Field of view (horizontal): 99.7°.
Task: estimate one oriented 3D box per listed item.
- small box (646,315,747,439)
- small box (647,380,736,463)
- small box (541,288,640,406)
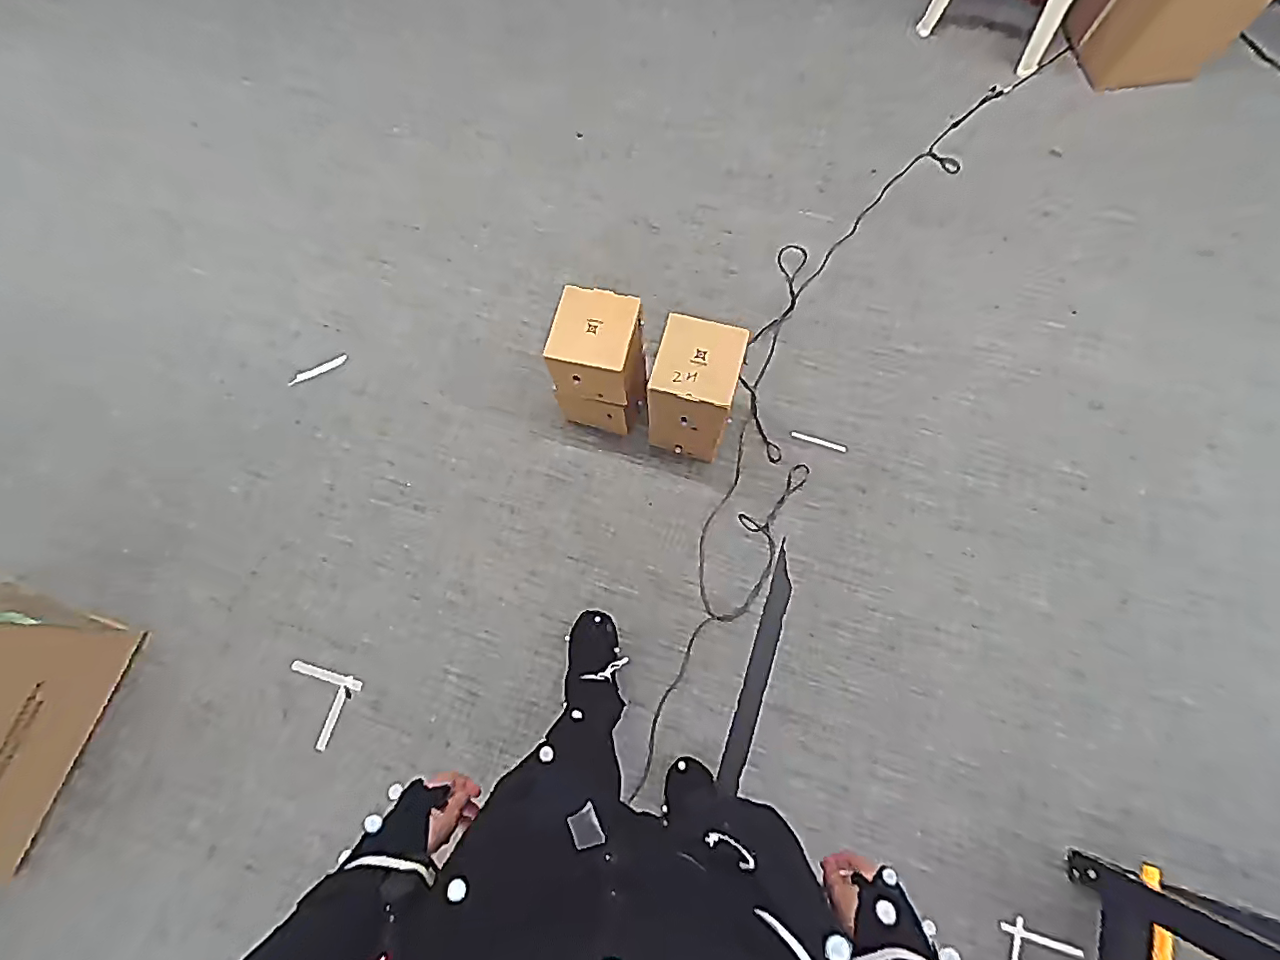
[{"bbox_3d":[0.114,-0.210,1.134,0.168,0.176,0.179,15,75,7],"label":"small box"},{"bbox_3d":[0.118,-0.163,1.293,0.168,0.176,0.179,17,75,7],"label":"small box"},{"bbox_3d":[-0.097,-0.279,1.166,0.168,0.176,0.179,12,73,6],"label":"small box"}]
